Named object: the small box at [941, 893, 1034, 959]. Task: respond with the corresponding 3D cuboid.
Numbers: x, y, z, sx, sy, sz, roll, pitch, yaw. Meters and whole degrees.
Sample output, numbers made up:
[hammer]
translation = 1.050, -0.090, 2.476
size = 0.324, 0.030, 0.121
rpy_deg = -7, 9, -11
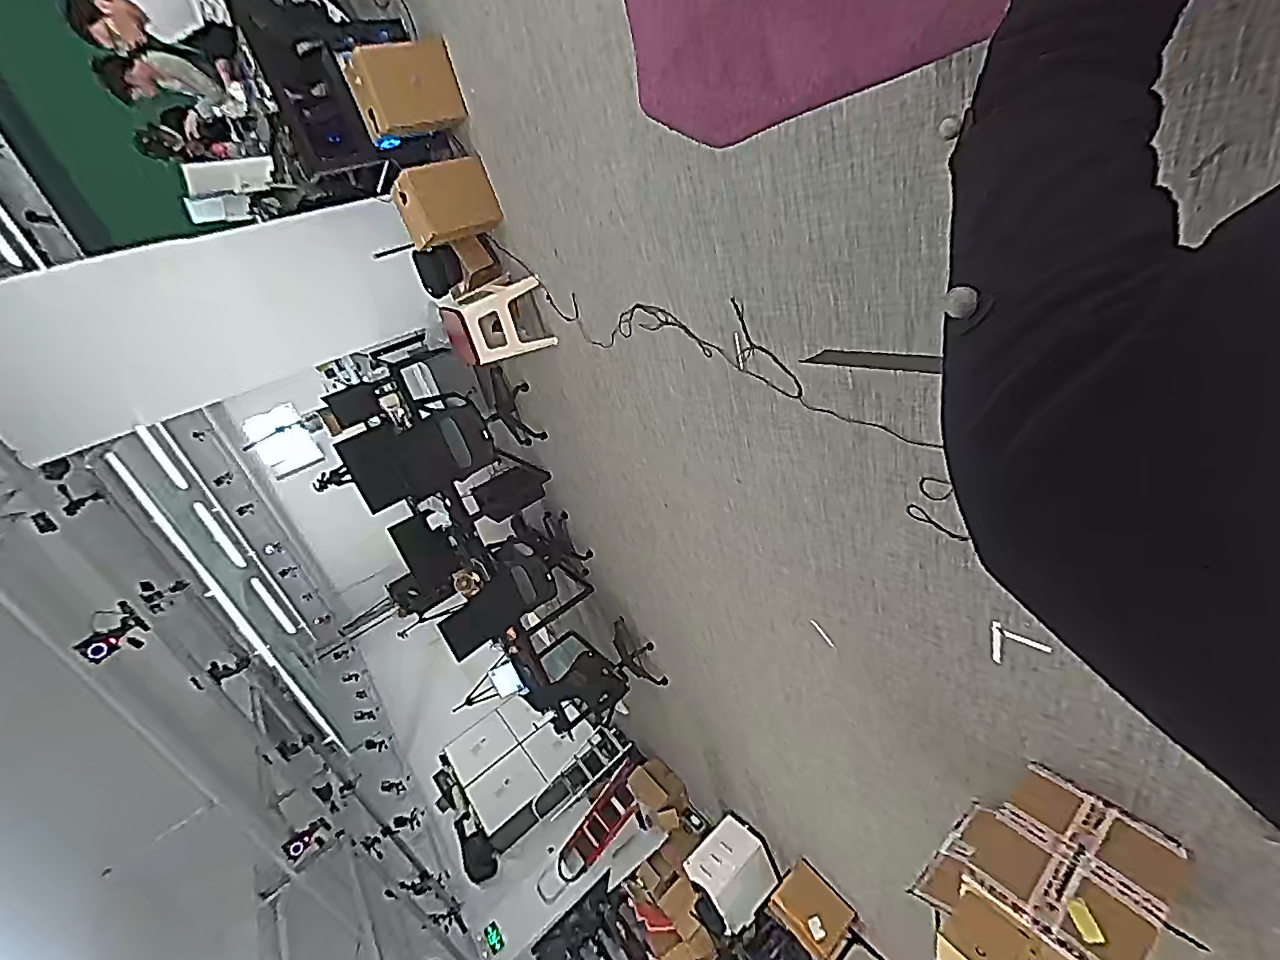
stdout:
[small box]
translation = 1.000, 1.355, 1.557
size = 0.179, 0.176, 0.168
rpy_deg = 23, 134, 53
